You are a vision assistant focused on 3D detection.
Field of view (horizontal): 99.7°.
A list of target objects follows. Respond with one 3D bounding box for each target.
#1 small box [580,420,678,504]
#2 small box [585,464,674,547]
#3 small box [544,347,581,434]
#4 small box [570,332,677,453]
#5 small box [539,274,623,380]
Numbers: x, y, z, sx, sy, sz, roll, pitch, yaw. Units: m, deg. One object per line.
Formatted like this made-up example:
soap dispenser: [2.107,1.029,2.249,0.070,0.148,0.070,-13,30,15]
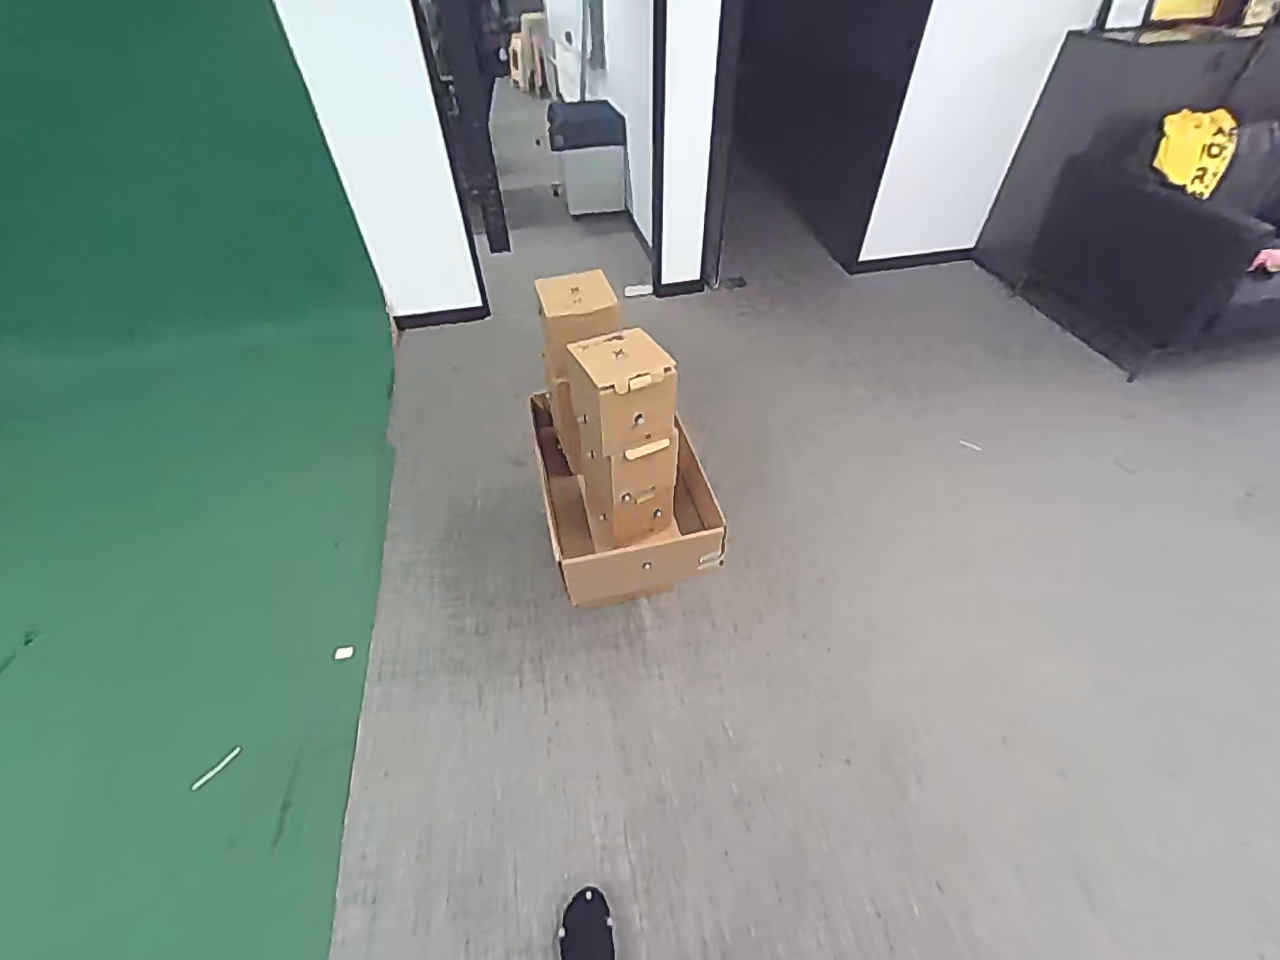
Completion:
small box: [-0.025,-0.065,1.242,0.168,0.176,0.179,-20,49,-19]
small box: [-0.027,0.046,1.363,0.168,0.176,0.179,-20,49,-18]
small box: [-0.140,-0.245,1.410,0.179,0.176,0.168,-15,49,-11]
small box: [-0.035,-0.175,1.119,0.168,0.176,0.179,-18,50,-18]
small box: [-0.139,-0.366,1.297,0.168,0.176,0.179,-13,49,-10]
